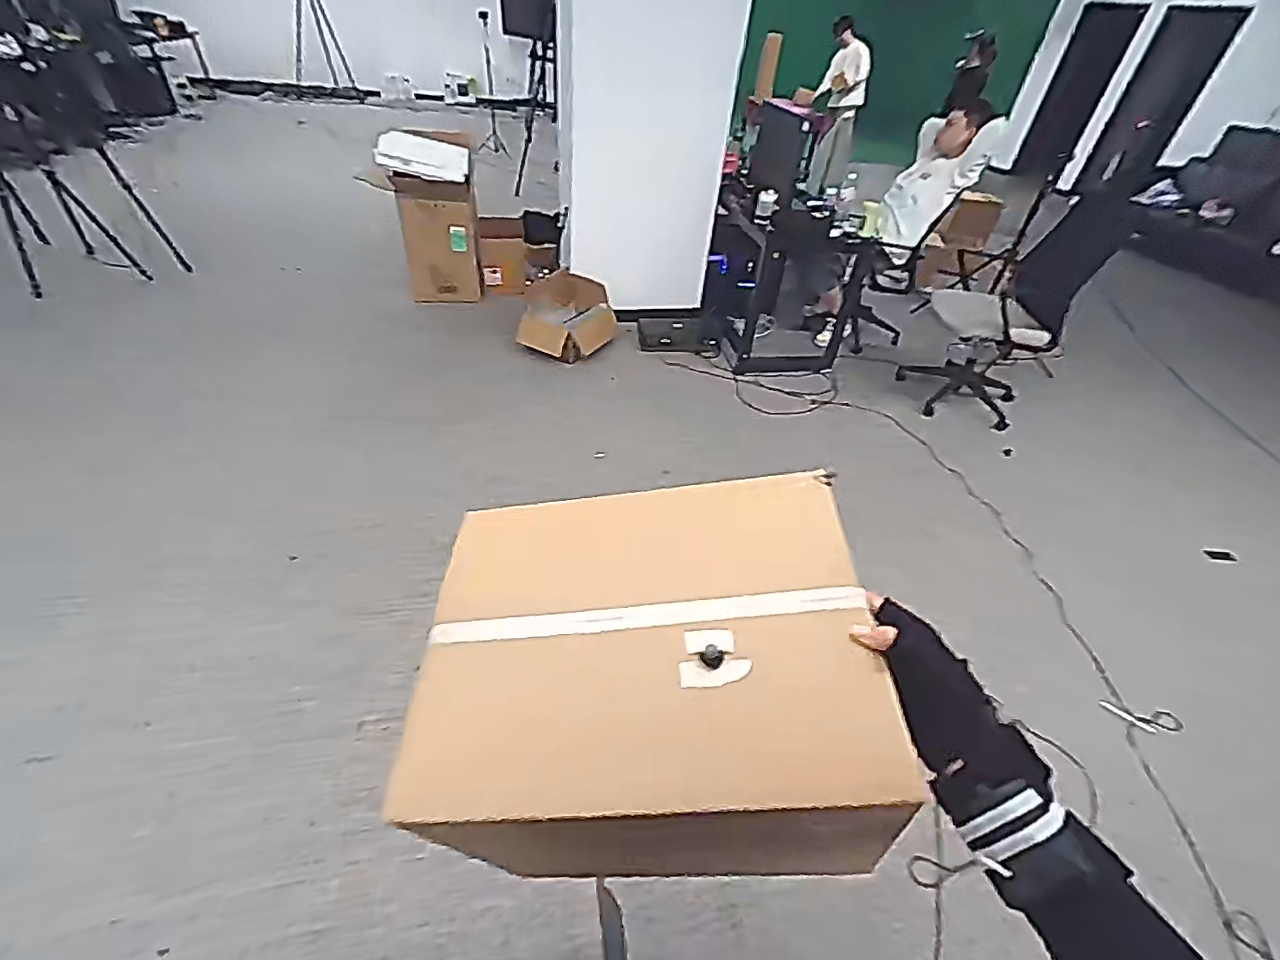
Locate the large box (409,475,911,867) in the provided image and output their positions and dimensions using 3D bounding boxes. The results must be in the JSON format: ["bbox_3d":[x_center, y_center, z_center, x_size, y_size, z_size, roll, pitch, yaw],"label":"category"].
[{"bbox_3d":[0.029,0.230,0.623,0.408,0.320,0.320,-7,47,8],"label":"large box"}]
